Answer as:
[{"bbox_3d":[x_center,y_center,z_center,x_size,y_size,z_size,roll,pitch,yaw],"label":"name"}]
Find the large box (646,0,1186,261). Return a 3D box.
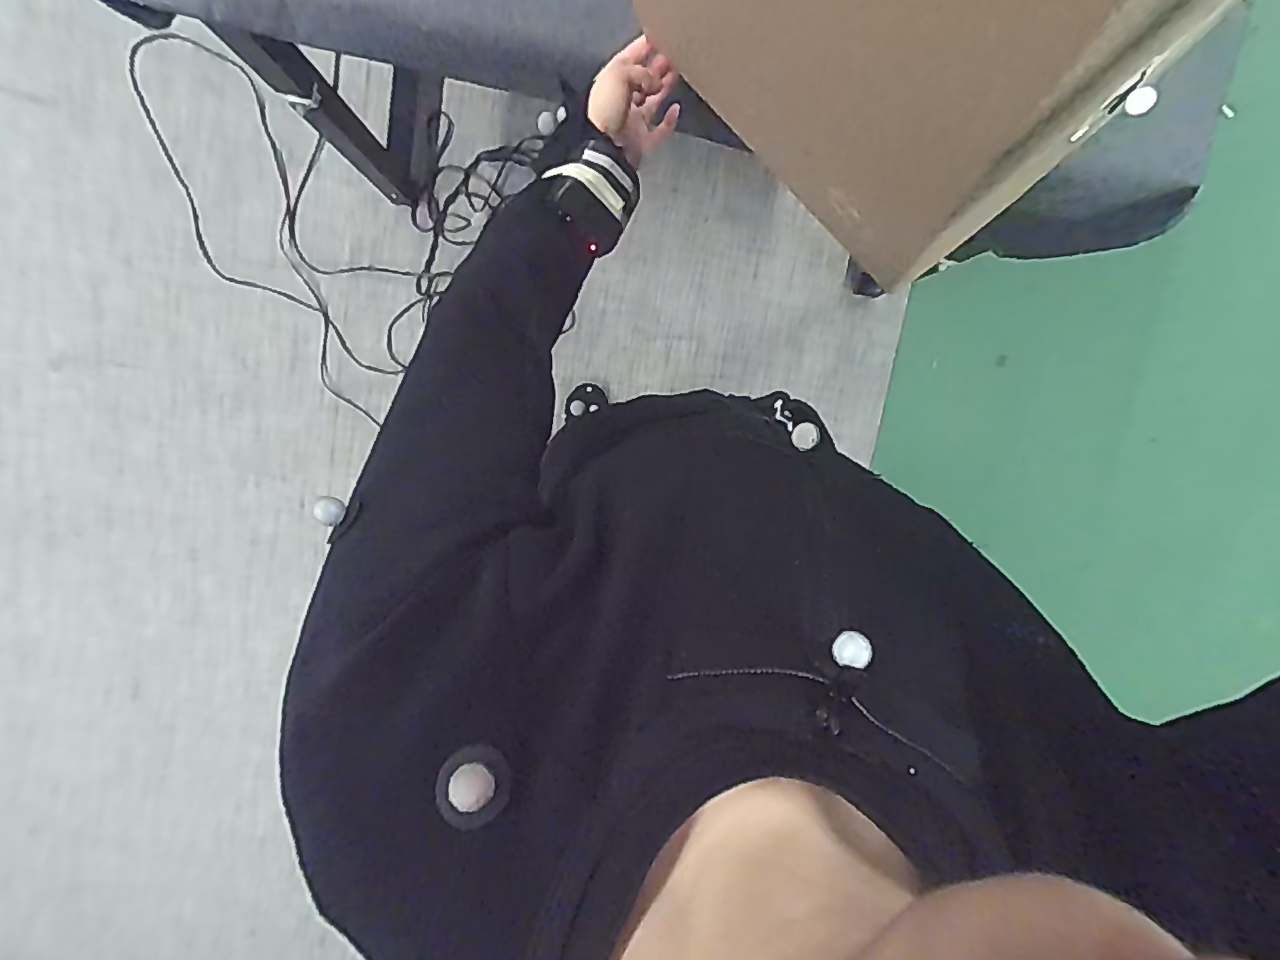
[{"bbox_3d":[0.165,-0.366,0.229,0.320,0.408,0.320,-42,86,14],"label":"large box"}]
